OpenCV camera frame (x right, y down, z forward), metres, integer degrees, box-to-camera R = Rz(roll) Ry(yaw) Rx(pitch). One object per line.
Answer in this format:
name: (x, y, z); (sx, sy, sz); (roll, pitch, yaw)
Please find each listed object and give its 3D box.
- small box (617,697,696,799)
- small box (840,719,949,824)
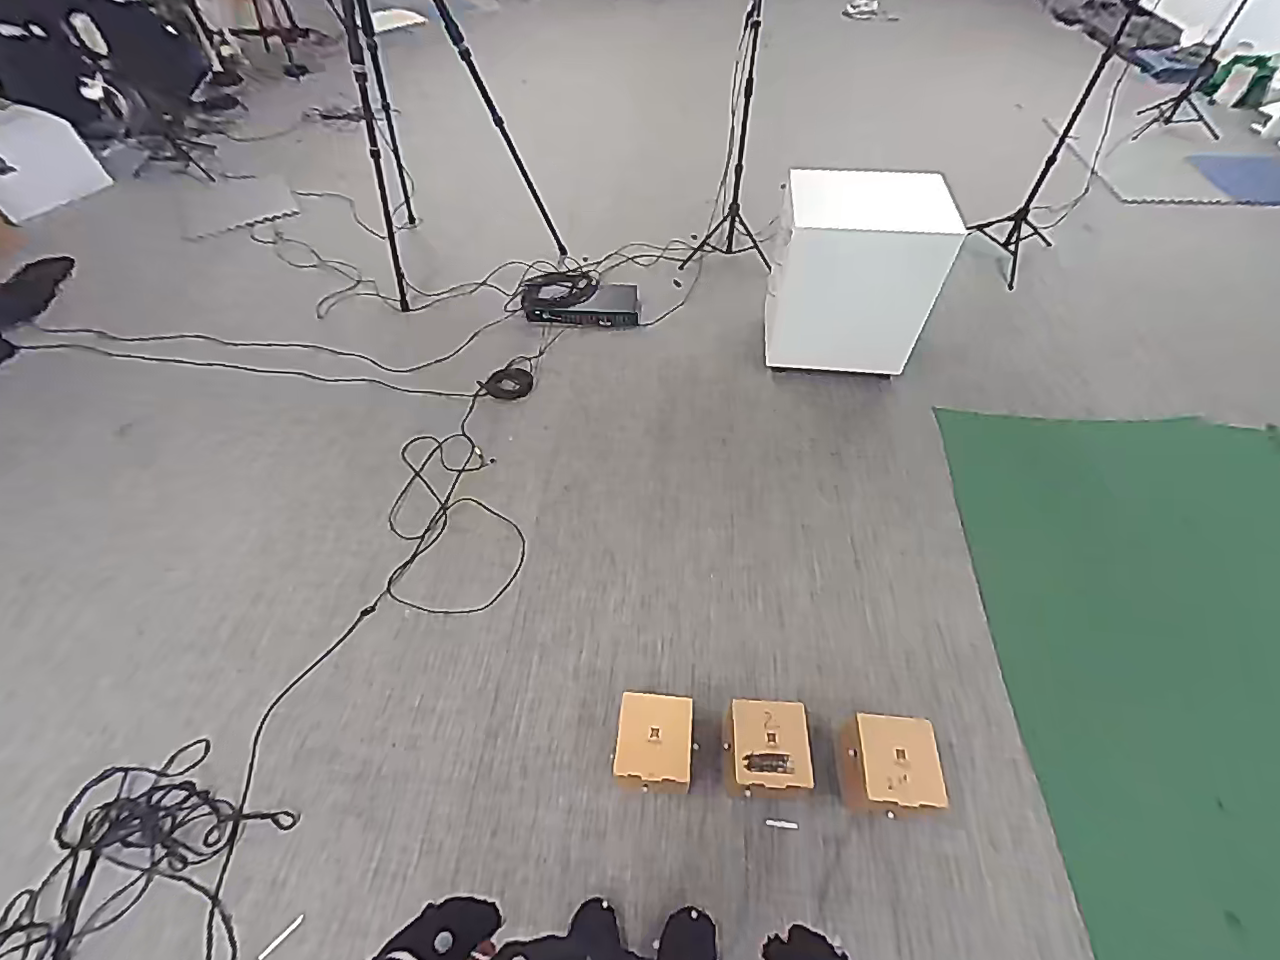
small box: (0.040, 0.633, 1.274); (0.168, 0.176, 0.179); (4, 53, 5)
small box: (0.568, 0.667, 1.234); (0.168, 0.176, 0.179); (4, 53, 5)
